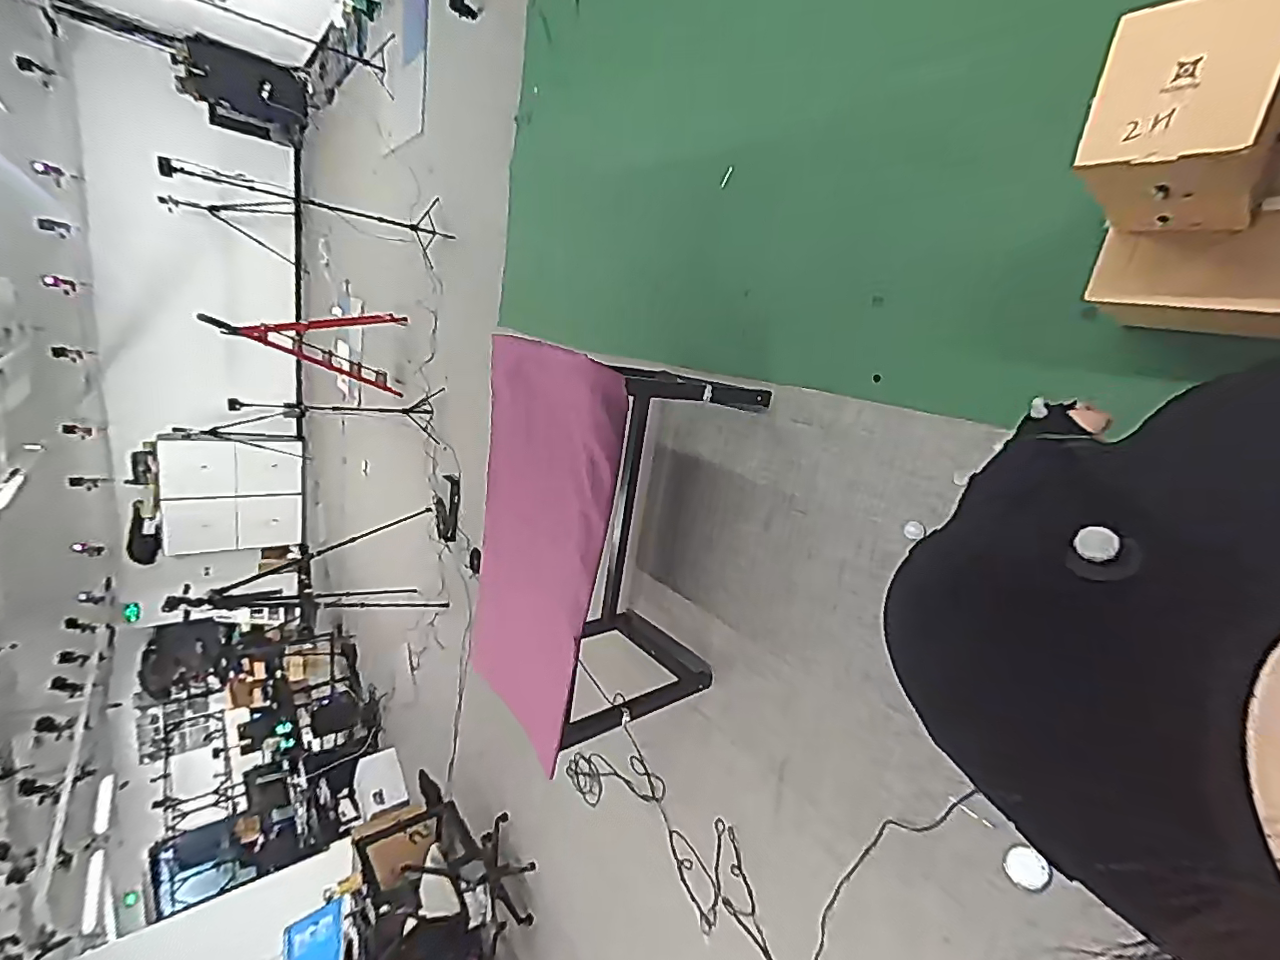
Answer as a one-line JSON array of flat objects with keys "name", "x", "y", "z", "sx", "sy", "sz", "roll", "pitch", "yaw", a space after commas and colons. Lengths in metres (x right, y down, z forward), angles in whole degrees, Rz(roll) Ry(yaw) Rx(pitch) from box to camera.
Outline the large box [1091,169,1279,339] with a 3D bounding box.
[{"name": "large box", "x": 1.061, "y": -0.409, "z": 0.881, "sx": 0.408, "sy": 0.320, "sz": 0.320, "roll": 26, "pitch": 112, "yaw": 45}]

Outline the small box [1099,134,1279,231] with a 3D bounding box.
[{"name": "small box", "x": 0.818, "y": -0.480, "z": 0.789, "sx": 0.168, "sy": 0.176, "sz": 0.179, "roll": 27, "pitch": 112, "yaw": 46}]

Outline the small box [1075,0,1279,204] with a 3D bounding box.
[{"name": "small box", "x": 0.694, "y": -0.471, "z": 0.681, "sx": 0.168, "sy": 0.176, "sz": 0.179, "roll": 25, "pitch": 111, "yaw": 46}]
